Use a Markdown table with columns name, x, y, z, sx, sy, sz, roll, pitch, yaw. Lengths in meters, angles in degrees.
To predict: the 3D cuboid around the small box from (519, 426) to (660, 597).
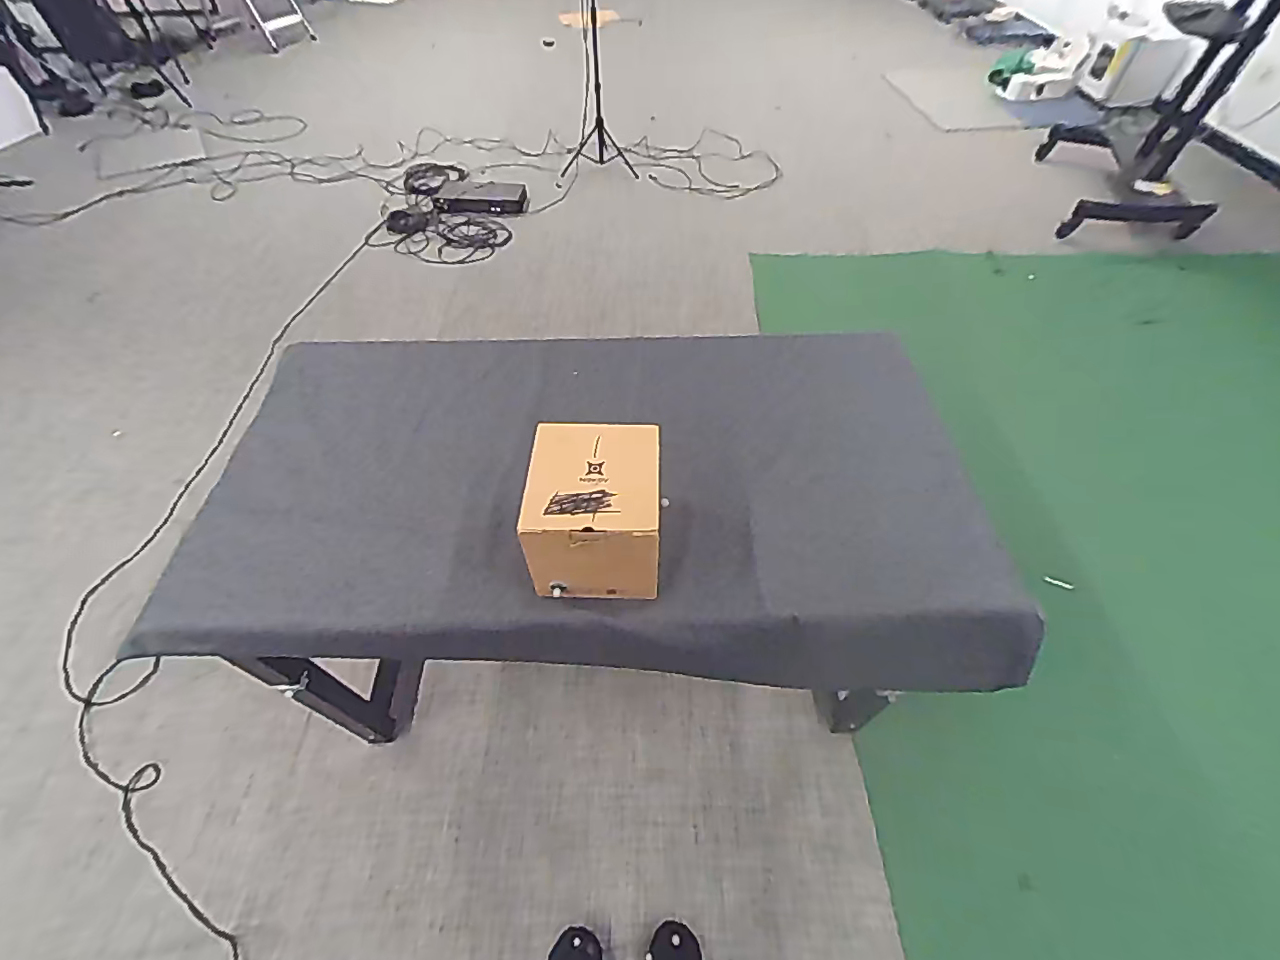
| name | x | y | z | sx | sy | sz | roll | pitch | yaw |
| --- | --- | --- | --- | --- | --- | --- | --- | --- | --- |
| small box | -0.058 | 0.047 | 0.747 | 0.168 | 0.176 | 0.179 | 3 | 51 | 1 |
